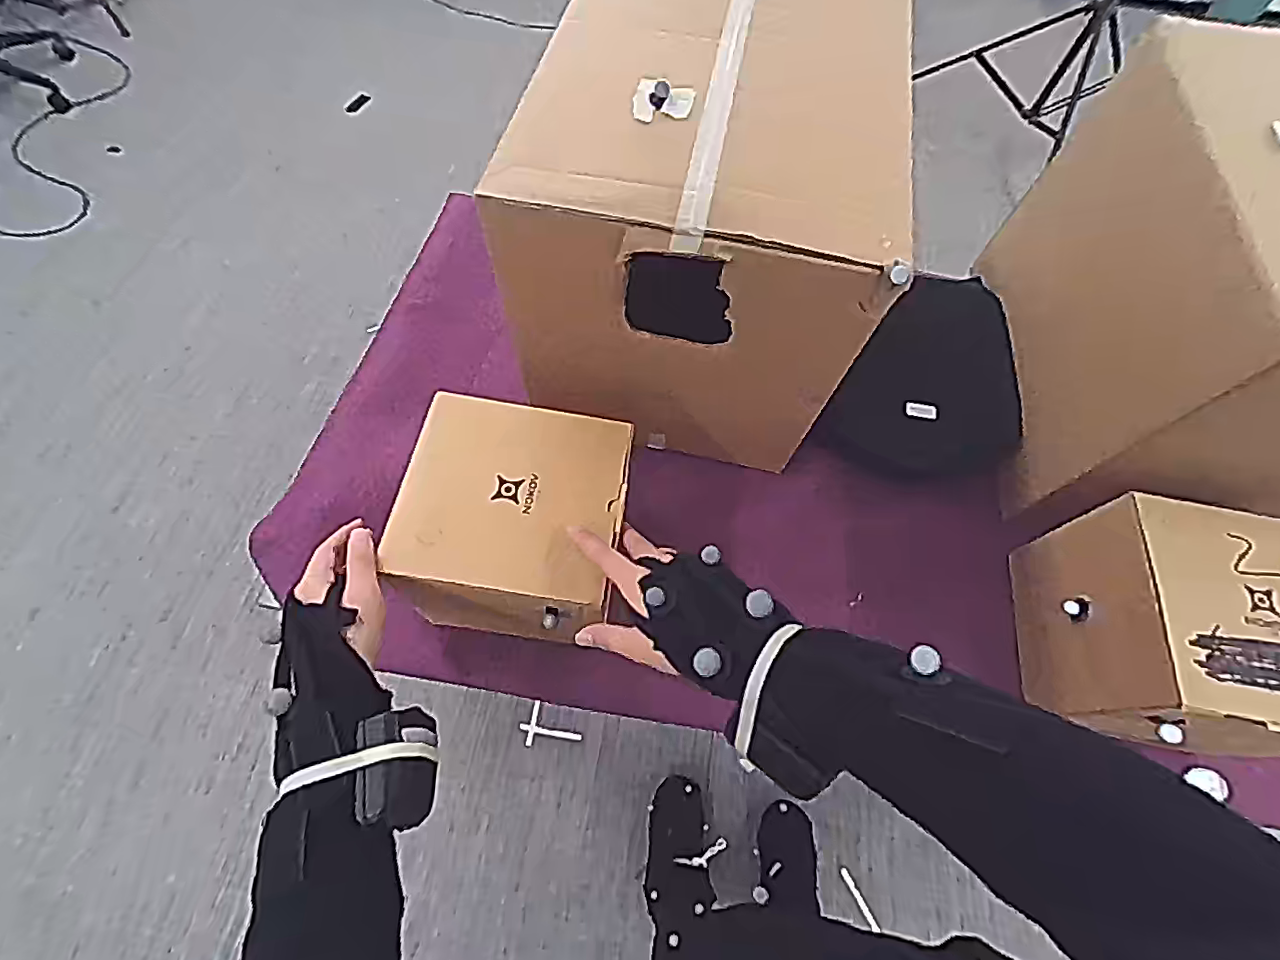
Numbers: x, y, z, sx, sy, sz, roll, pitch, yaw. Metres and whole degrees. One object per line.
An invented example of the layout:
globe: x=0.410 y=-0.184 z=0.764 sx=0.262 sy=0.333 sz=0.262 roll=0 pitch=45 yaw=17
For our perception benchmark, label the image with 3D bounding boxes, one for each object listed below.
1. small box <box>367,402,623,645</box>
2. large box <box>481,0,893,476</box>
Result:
small box: x=-0.118 y=0.051 z=0.513 sx=0.179 sy=0.176 sz=0.168 roll=9 pitch=63 yaw=-2
large box: x=0.060 y=-0.267 z=0.606 sx=0.320 sy=0.320 sz=0.408 roll=11 pitch=66 yaw=3
